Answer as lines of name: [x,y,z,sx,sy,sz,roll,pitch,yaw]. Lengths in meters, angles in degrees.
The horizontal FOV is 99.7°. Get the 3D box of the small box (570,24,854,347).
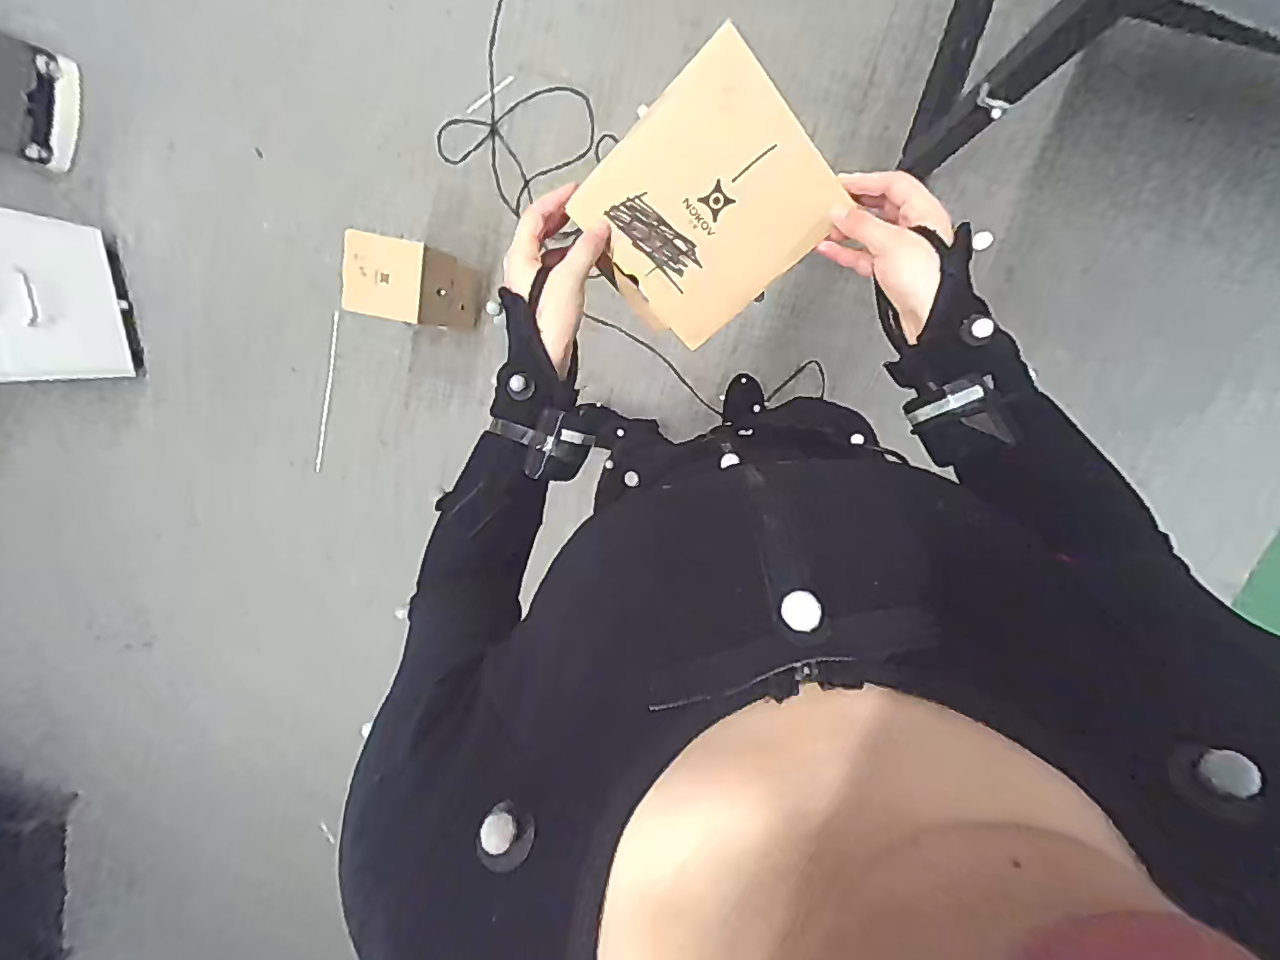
small box: [0.063,-0.259,0.509,0.179,0.176,0.168,-39,109,21]

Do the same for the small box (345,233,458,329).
small box: [-0.530,-0.440,1.220,0.179,0.176,0.168,12,104,4]

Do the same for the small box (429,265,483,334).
small box: [-0.521,-0.475,1.381,0.179,0.176,0.168,14,104,4]
